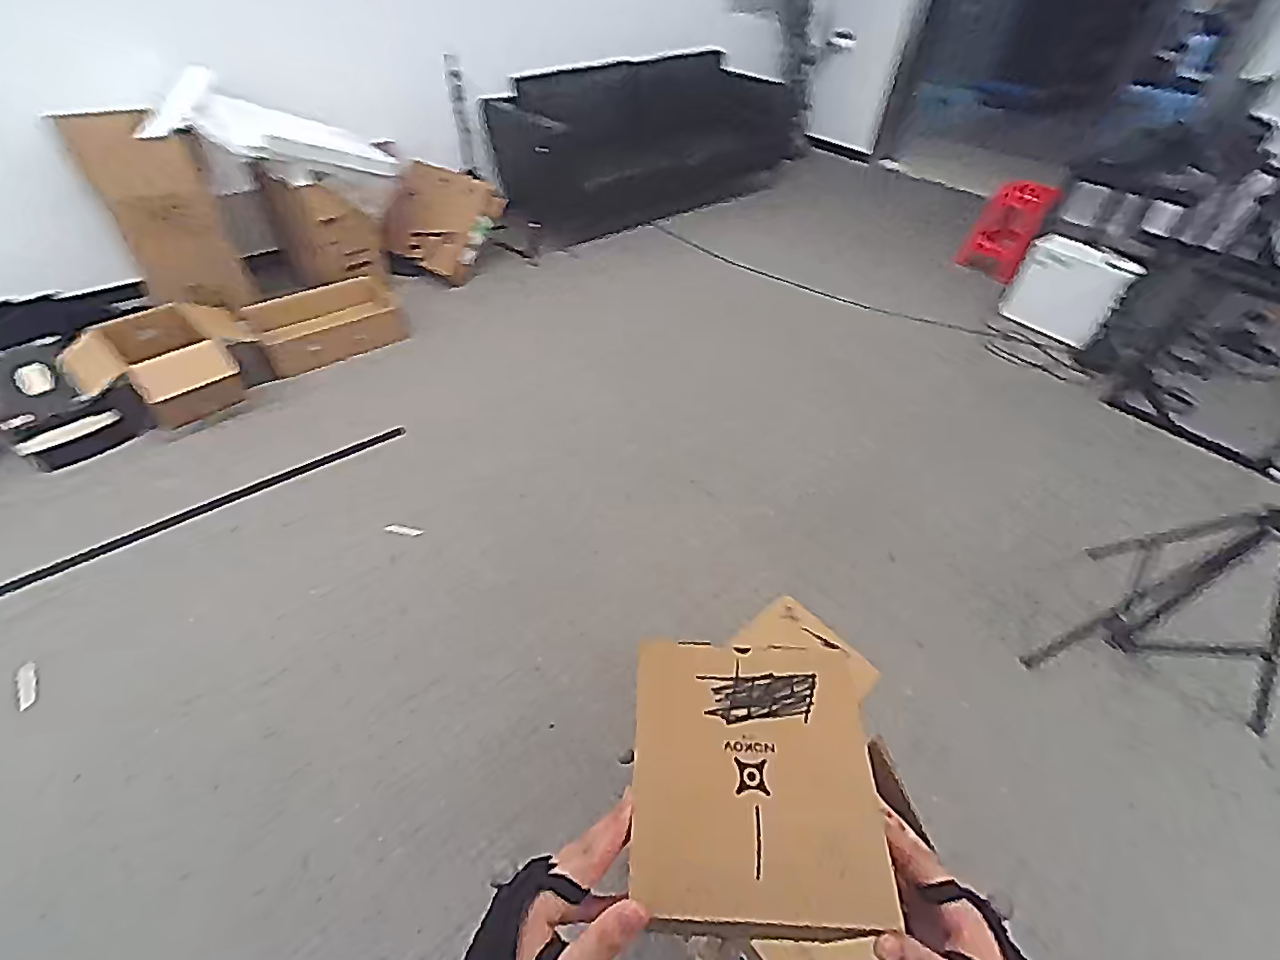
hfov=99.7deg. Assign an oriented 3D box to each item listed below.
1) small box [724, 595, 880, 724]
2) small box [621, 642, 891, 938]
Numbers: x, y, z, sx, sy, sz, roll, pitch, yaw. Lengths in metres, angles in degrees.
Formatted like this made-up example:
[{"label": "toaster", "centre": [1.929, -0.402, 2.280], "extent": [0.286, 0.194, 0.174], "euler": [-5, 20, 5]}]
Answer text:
[{"label": "small box", "centre": [0.205, 0.309, 0.777], "extent": [0.179, 0.176, 0.168], "euler": [-31, 52, -25]}, {"label": "small box", "centre": [0.071, 0.252, 0.439], "extent": [0.168, 0.176, 0.179], "euler": [1, 48, 1]}]
